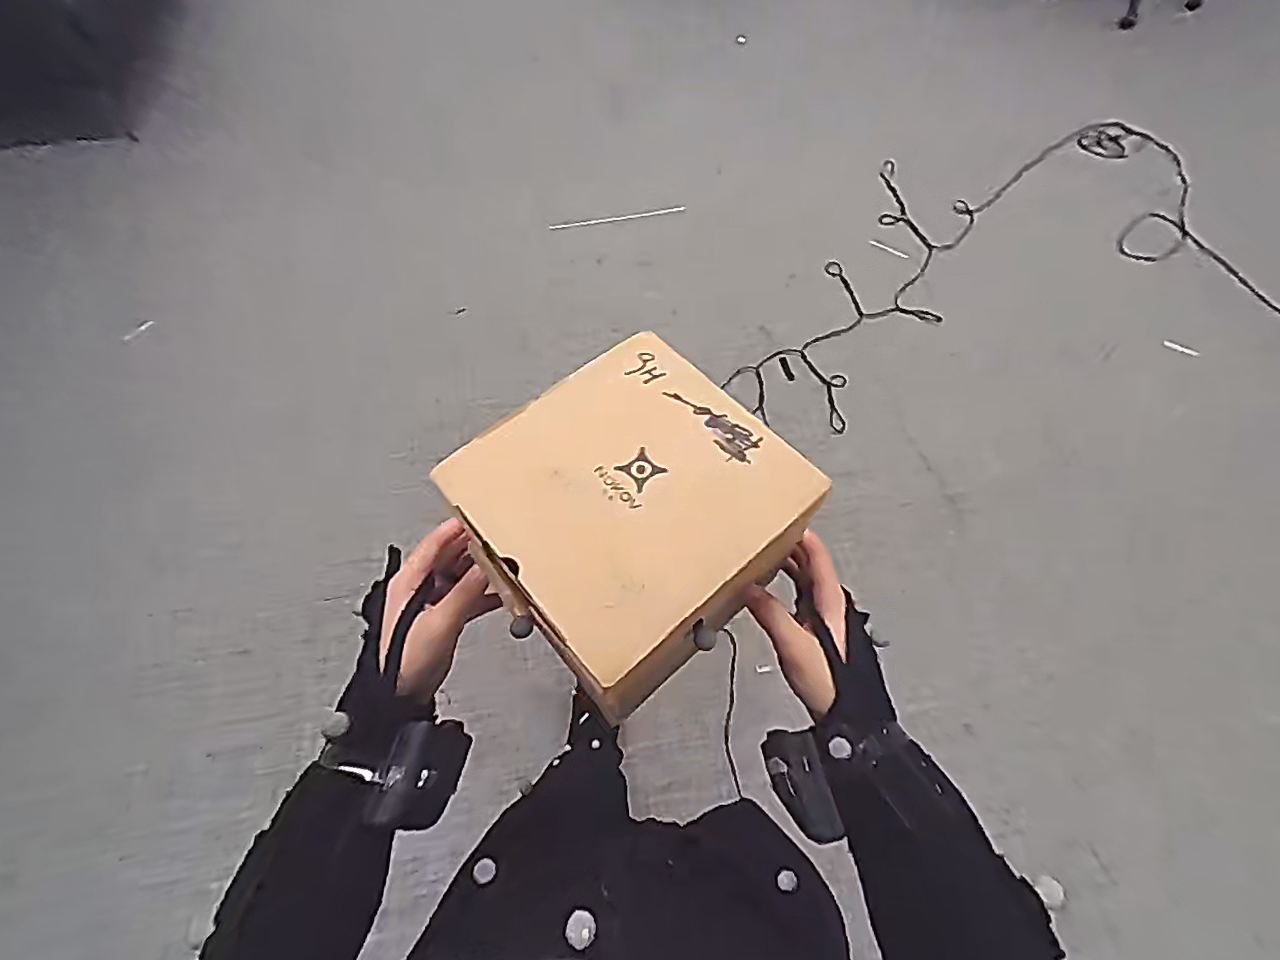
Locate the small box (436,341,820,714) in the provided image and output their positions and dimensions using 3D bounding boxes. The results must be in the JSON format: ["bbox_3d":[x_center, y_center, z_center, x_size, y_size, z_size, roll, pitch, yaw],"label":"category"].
[{"bbox_3d":[-0.006,0.043,0.392,0.179,0.176,0.168,-37,67,-18],"label":"small box"}]
